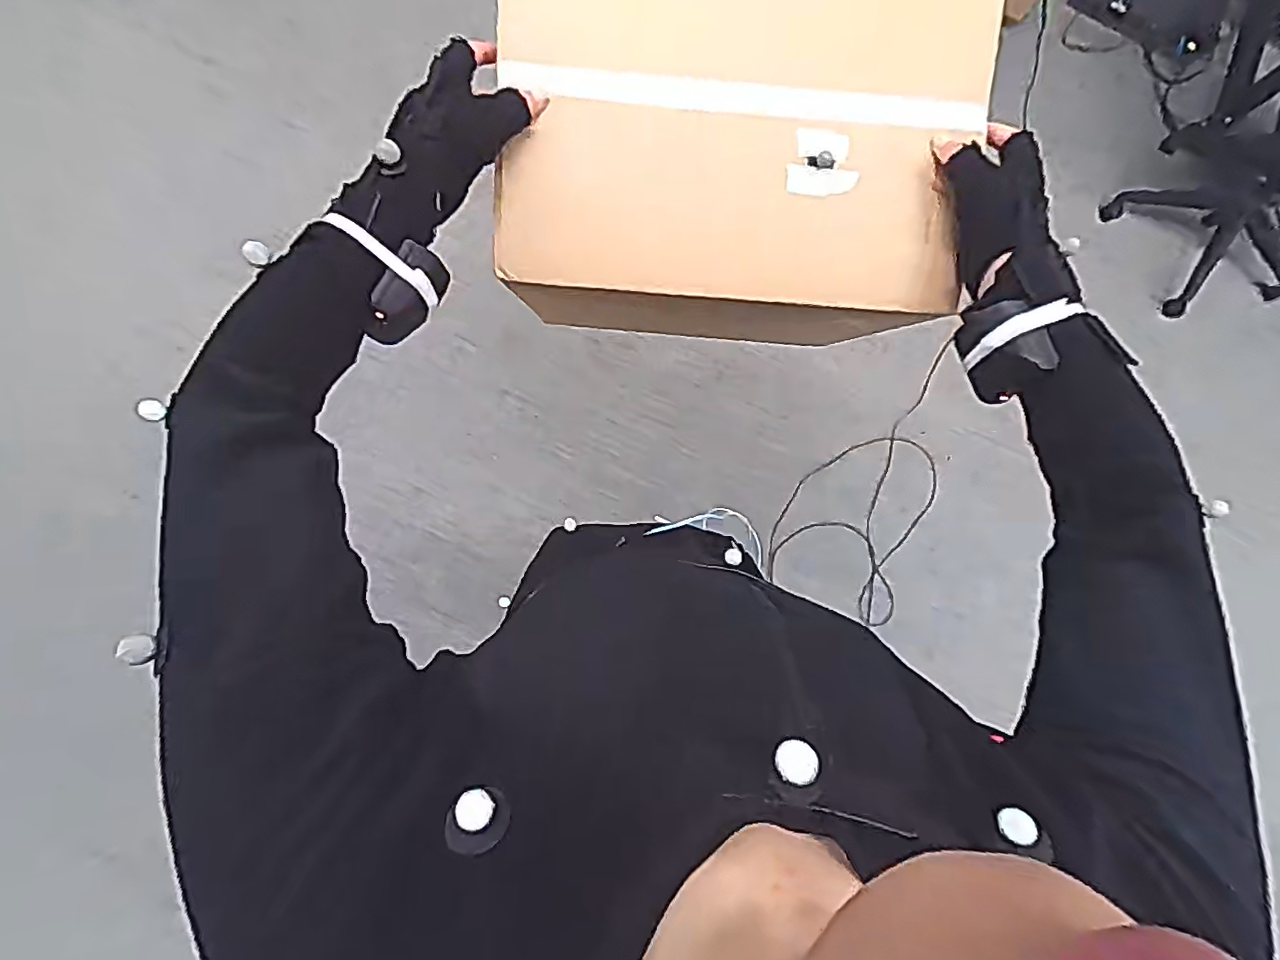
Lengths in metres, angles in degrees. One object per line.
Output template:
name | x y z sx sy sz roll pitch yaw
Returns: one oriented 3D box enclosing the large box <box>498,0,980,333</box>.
large box | 0.073 -0.346 0.600 0.408 0.320 0.320 3 100 -4
